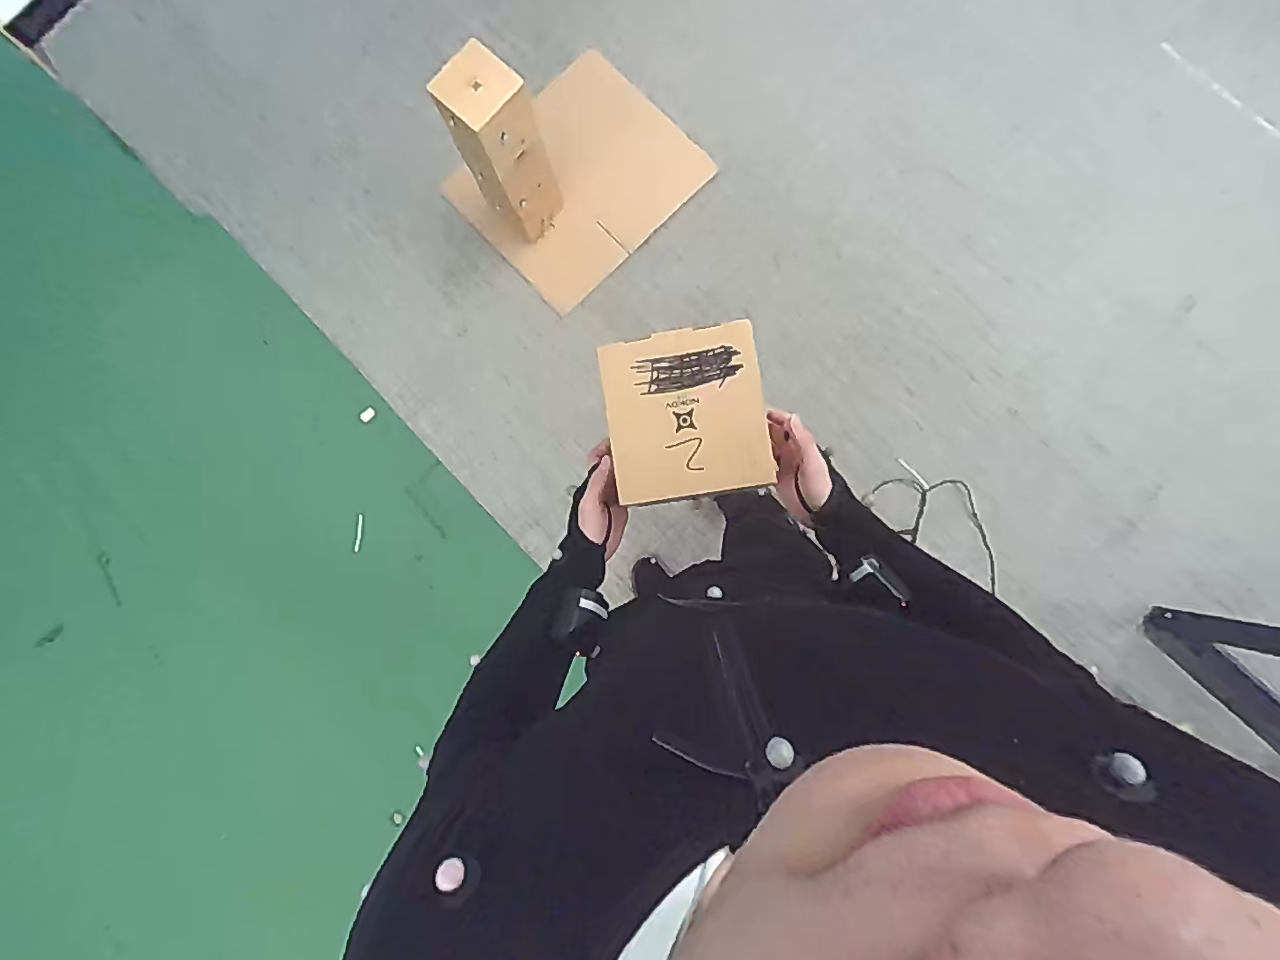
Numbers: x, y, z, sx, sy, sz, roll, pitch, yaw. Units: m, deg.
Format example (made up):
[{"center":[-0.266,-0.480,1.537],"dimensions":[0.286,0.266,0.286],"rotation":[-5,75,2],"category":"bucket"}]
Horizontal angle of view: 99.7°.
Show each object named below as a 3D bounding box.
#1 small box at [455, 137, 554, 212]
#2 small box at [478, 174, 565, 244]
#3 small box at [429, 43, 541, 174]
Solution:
[{"center":[-0.364,-0.878,1.489],"dimensions":[0.179,0.176,0.168],"rotation":[42,89,7],"category":"small box"},{"center":[-0.354,-0.864,1.652],"dimensions":[0.179,0.176,0.168],"rotation":[39,88,5],"category":"small box"},{"center":[-0.371,-0.897,1.329],"dimensions":[0.179,0.176,0.168],"rotation":[43,89,6],"category":"small box"}]
